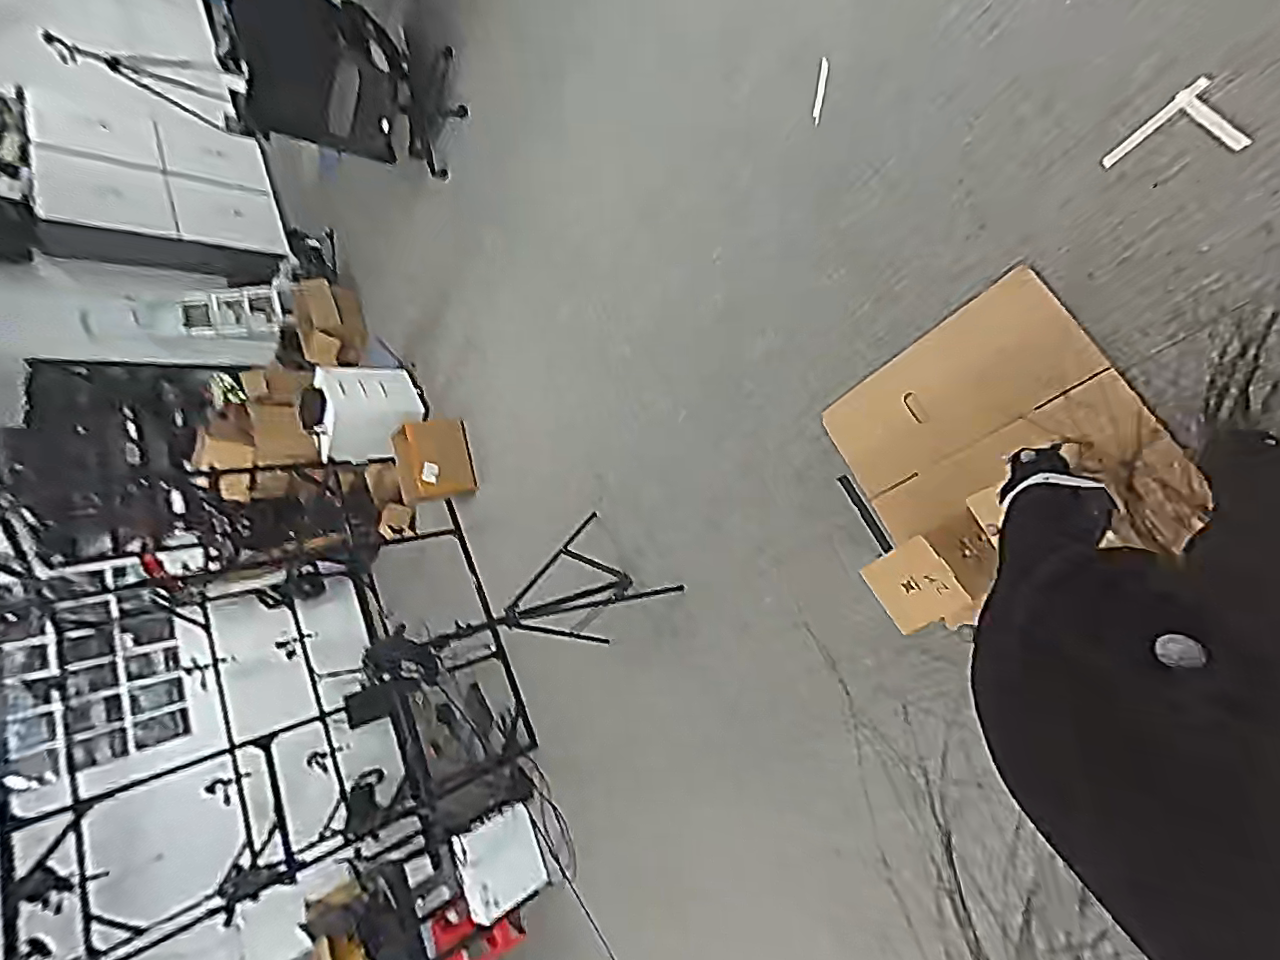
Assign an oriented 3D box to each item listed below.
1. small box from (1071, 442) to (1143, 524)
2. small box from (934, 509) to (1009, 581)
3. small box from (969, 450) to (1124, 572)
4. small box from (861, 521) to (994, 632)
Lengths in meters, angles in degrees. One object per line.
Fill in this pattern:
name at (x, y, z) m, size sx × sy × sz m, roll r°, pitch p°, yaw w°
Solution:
small box at (0.909, 0.033, 1.138) m, size 0.179 × 0.176 × 0.168 m, roll -45°, pitch 64°, yaw 42°
small box at (0.762, 0.189, 1.321) m, size 0.179 × 0.176 × 0.168 m, roll -50°, pitch 61°, yaw 39°
small box at (0.782, 0.055, 1.036) m, size 0.179 × 0.176 × 0.168 m, roll -41°, pitch 67°, yaw 43°
small box at (0.644, 0.212, 1.209) m, size 0.179 × 0.176 × 0.168 m, roll -49°, pitch 63°, yaw 40°
